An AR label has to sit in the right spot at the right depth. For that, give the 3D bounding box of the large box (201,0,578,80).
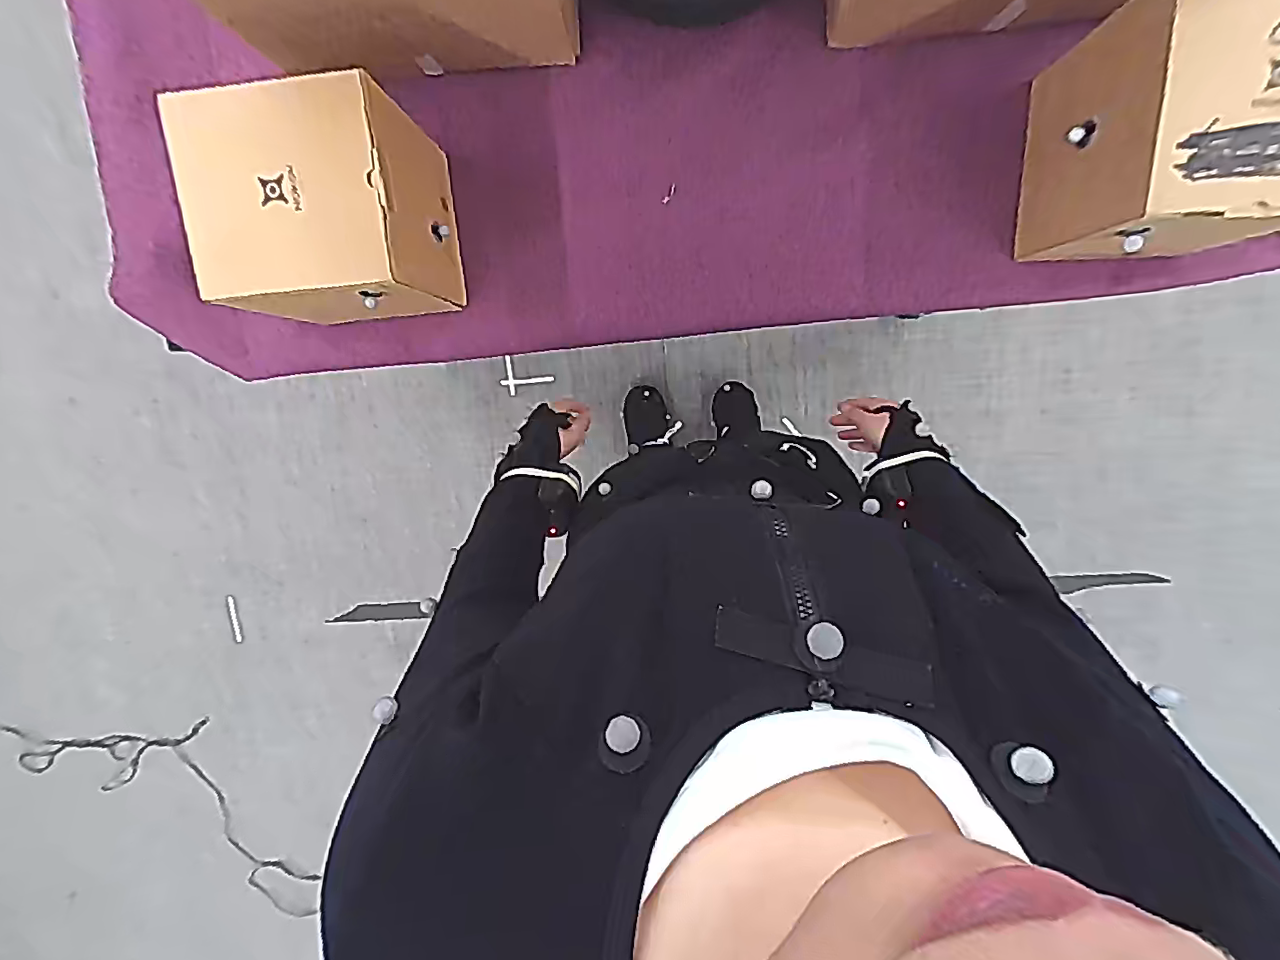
[{"bbox_3d":[-0.232,-0.598,0.396,0.320,0.320,0.408,-2,104,4],"label":"large box"}]

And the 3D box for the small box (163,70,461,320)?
[{"bbox_3d":[-0.302,-0.260,0.536,0.179,0.176,0.168,-5,100,3],"label":"small box"}]
